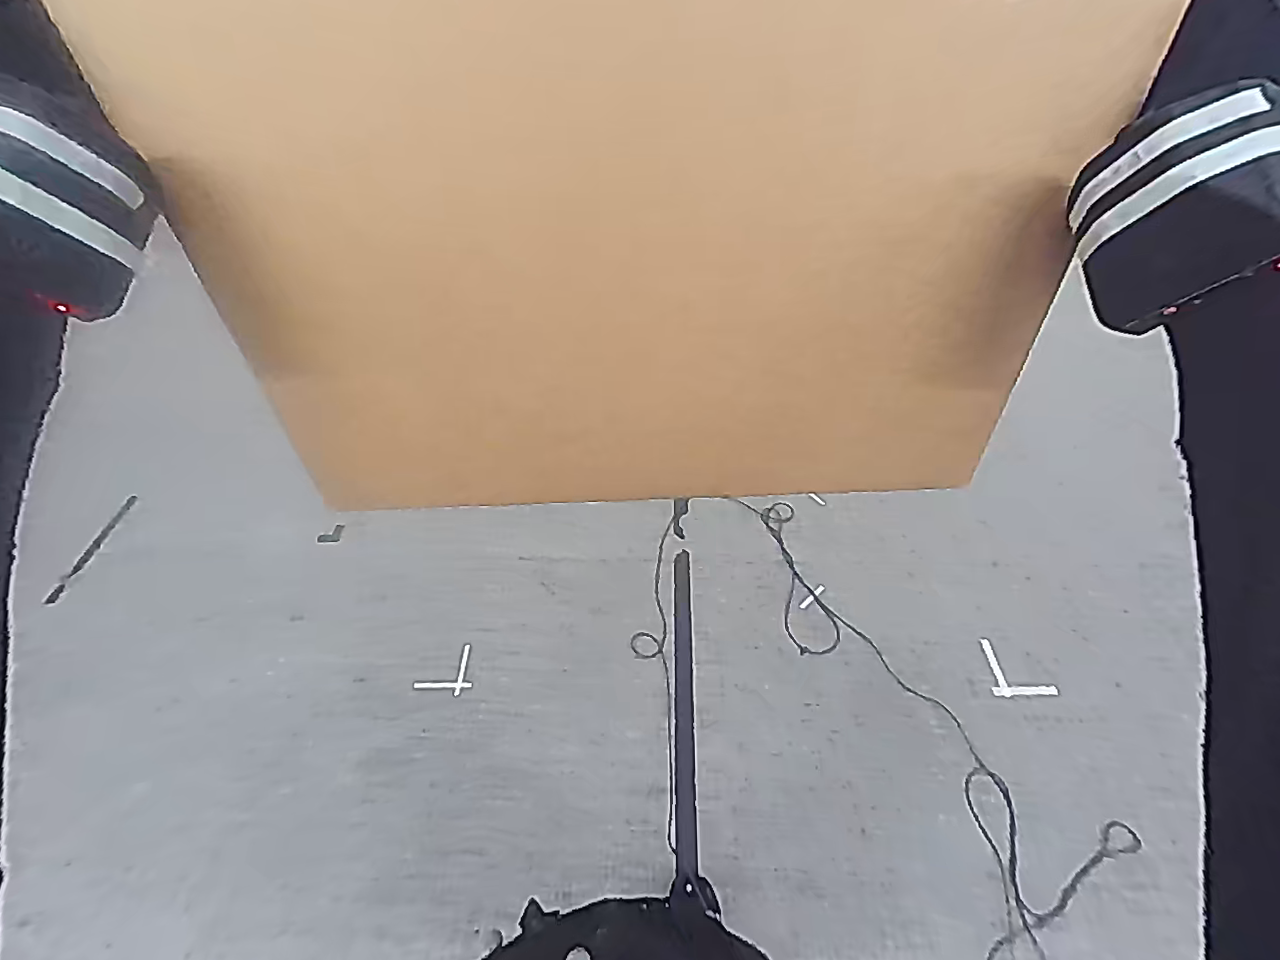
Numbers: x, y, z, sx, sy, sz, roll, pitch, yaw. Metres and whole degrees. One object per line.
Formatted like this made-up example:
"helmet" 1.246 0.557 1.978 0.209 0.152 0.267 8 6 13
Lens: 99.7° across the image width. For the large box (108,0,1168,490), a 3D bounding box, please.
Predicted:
"large box" 0.000 -0.207 0.363 0.408 0.320 0.320 -1 40 0
